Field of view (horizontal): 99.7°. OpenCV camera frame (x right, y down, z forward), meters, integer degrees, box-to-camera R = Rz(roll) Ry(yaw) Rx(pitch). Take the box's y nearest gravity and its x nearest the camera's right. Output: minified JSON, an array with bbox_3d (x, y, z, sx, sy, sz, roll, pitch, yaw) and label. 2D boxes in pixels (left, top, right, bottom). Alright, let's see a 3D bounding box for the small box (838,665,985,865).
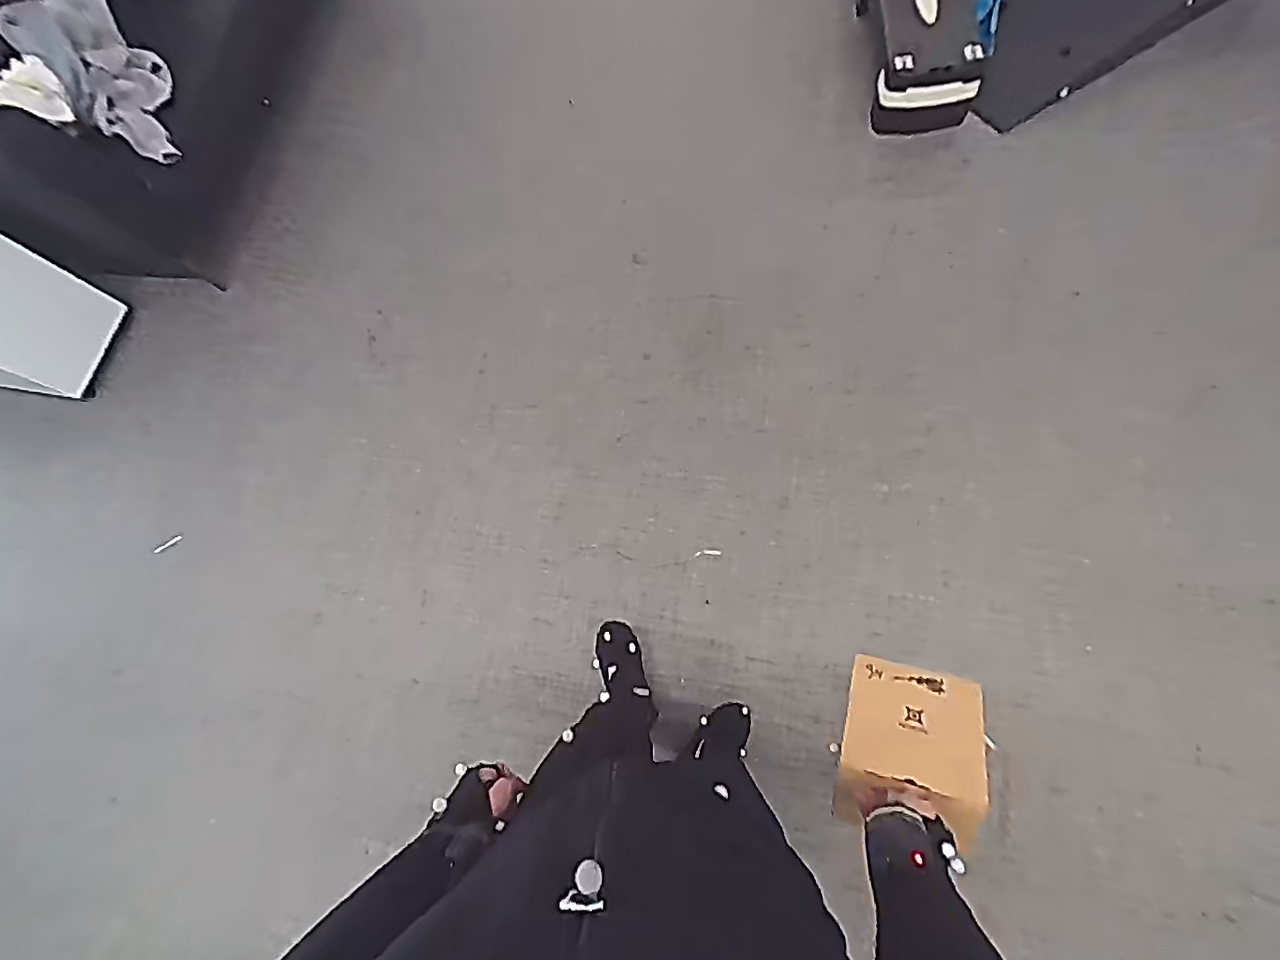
[{"bbox_3d":[0.376,0.400,0.766,0.168,0.176,0.179,4,37,24],"label":"small box"}]
